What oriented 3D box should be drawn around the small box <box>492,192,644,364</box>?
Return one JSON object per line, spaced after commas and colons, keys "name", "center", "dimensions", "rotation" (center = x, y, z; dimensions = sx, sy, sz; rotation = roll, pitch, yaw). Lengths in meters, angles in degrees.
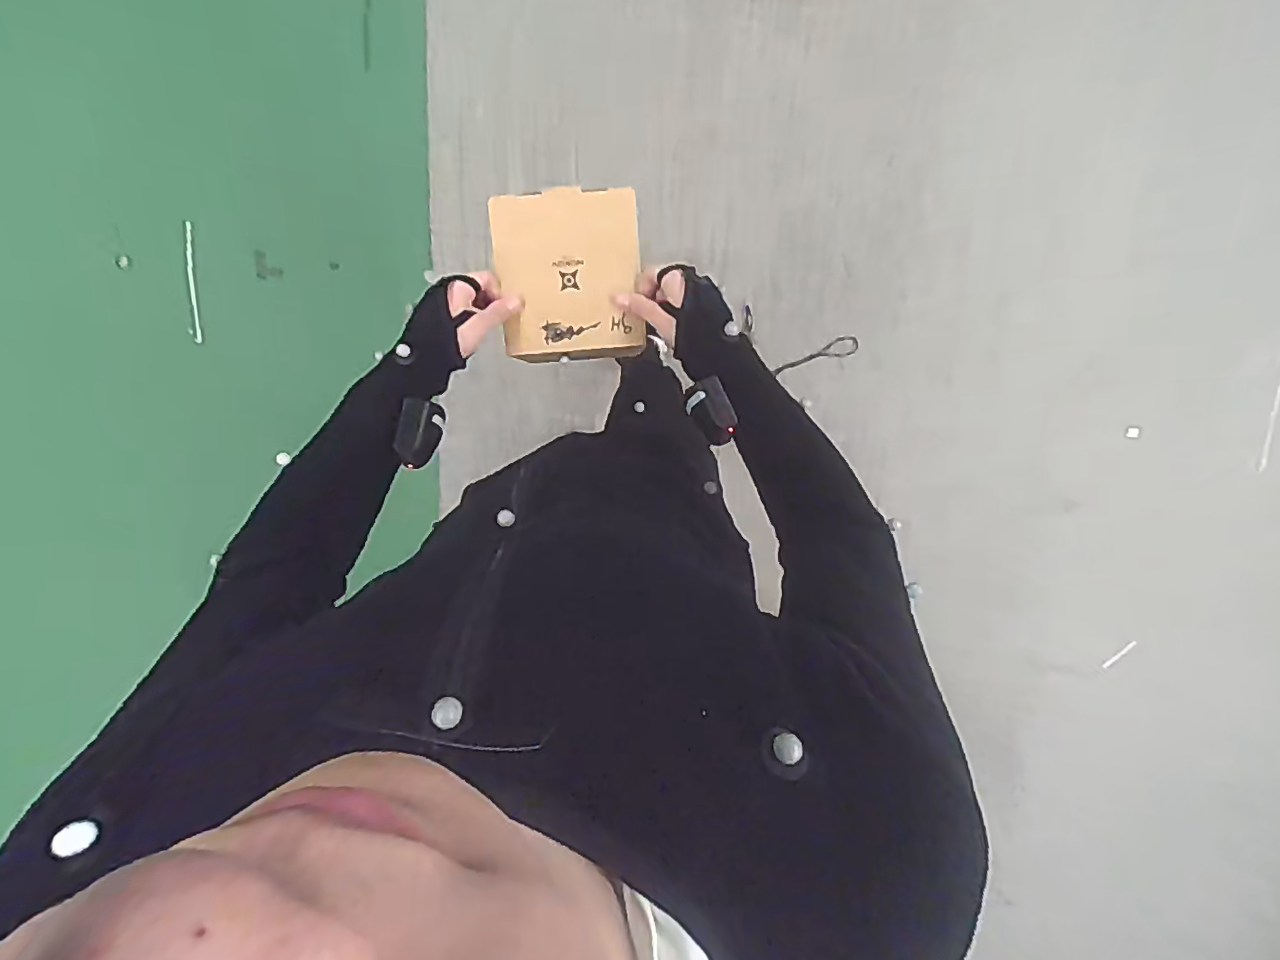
{"name": "small box", "center": [-0.086, -0.247, 0.697], "dimensions": [0.168, 0.176, 0.179], "rotation": [-4, 99, -3]}
